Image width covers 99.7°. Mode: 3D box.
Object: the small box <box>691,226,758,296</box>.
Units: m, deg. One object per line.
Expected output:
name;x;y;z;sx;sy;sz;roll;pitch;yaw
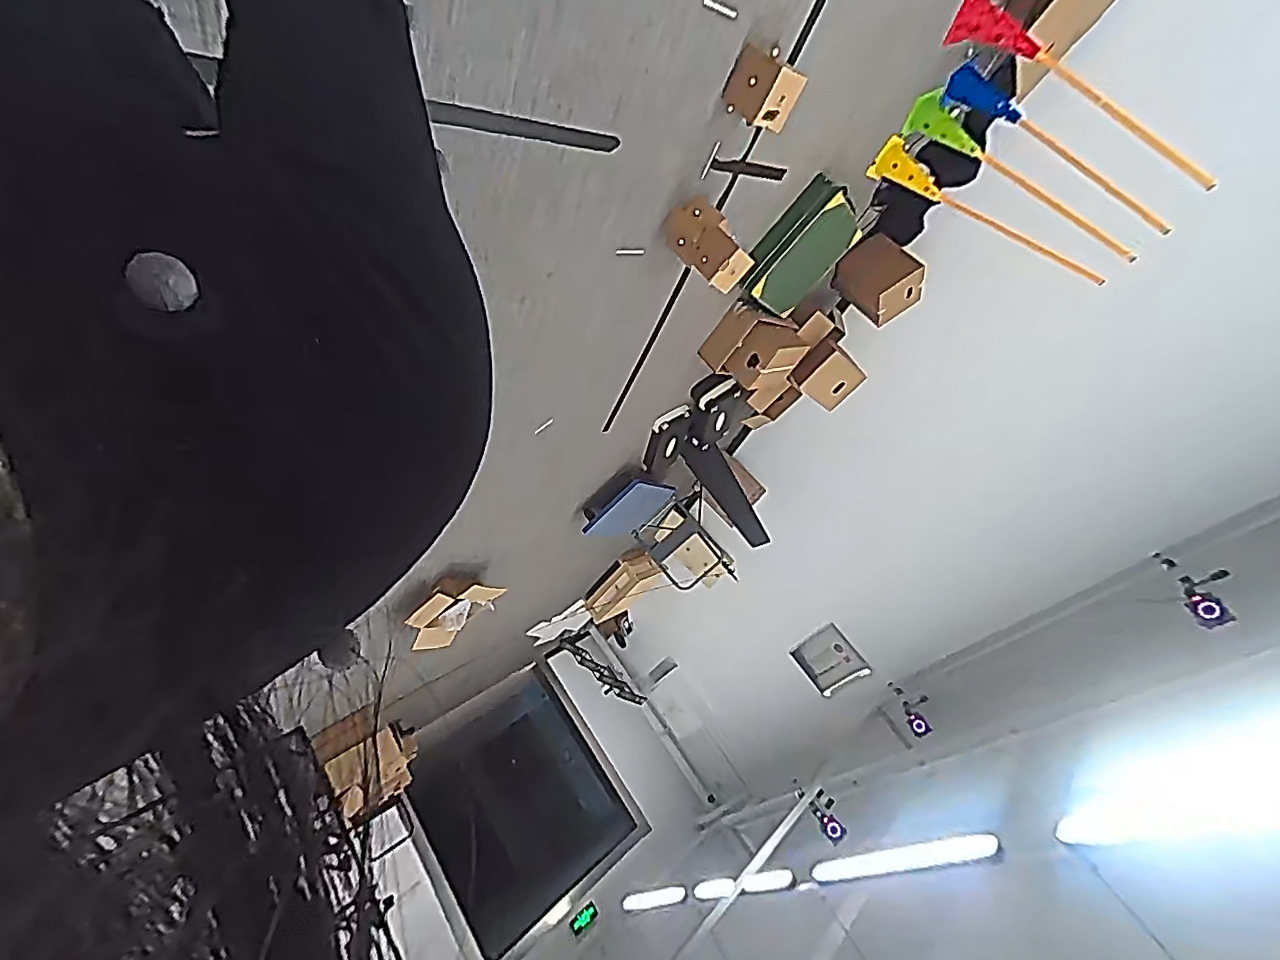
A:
small box;0.329;-0.867;2.133;0.168;0.176;0.179;-44;160;24

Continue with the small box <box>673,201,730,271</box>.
small box;0.245;-0.998;2.192;0.168;0.176;0.179;-35;161;-9

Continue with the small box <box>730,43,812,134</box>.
small box;0.429;-1.306;1.809;0.168;0.176;0.179;-20;153;-42
